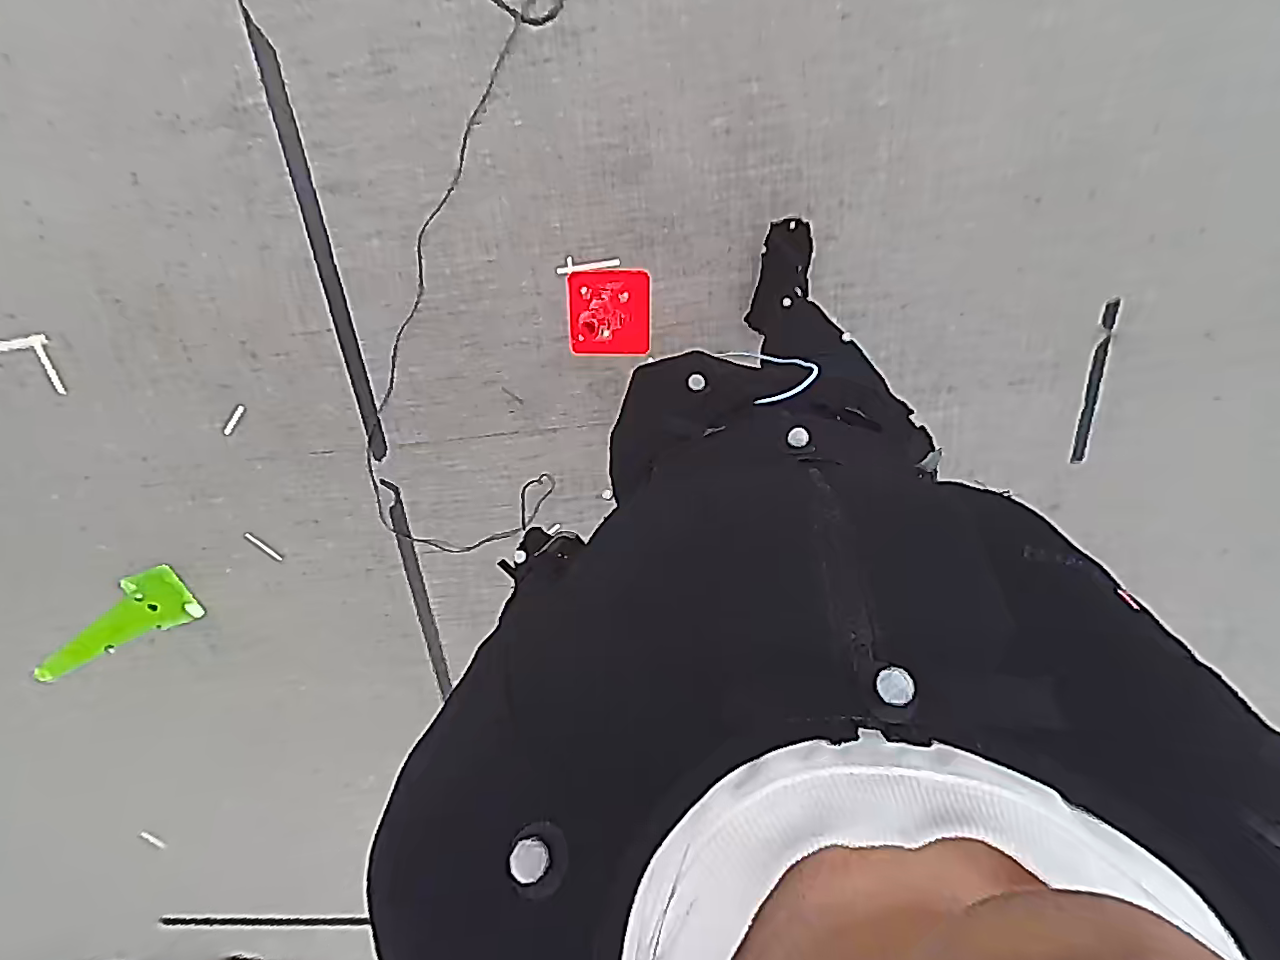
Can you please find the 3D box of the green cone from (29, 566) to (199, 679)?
[{"bbox_3d":[-1.534,0.438,1.554,0.200,0.368,0.202,-20,108,10],"label":"green cone"}]

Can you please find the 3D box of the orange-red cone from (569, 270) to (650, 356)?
[{"bbox_3d":[-0.088,-0.339,1.157,0.198,0.360,0.199,3,112,3],"label":"orange-red cone"}]
